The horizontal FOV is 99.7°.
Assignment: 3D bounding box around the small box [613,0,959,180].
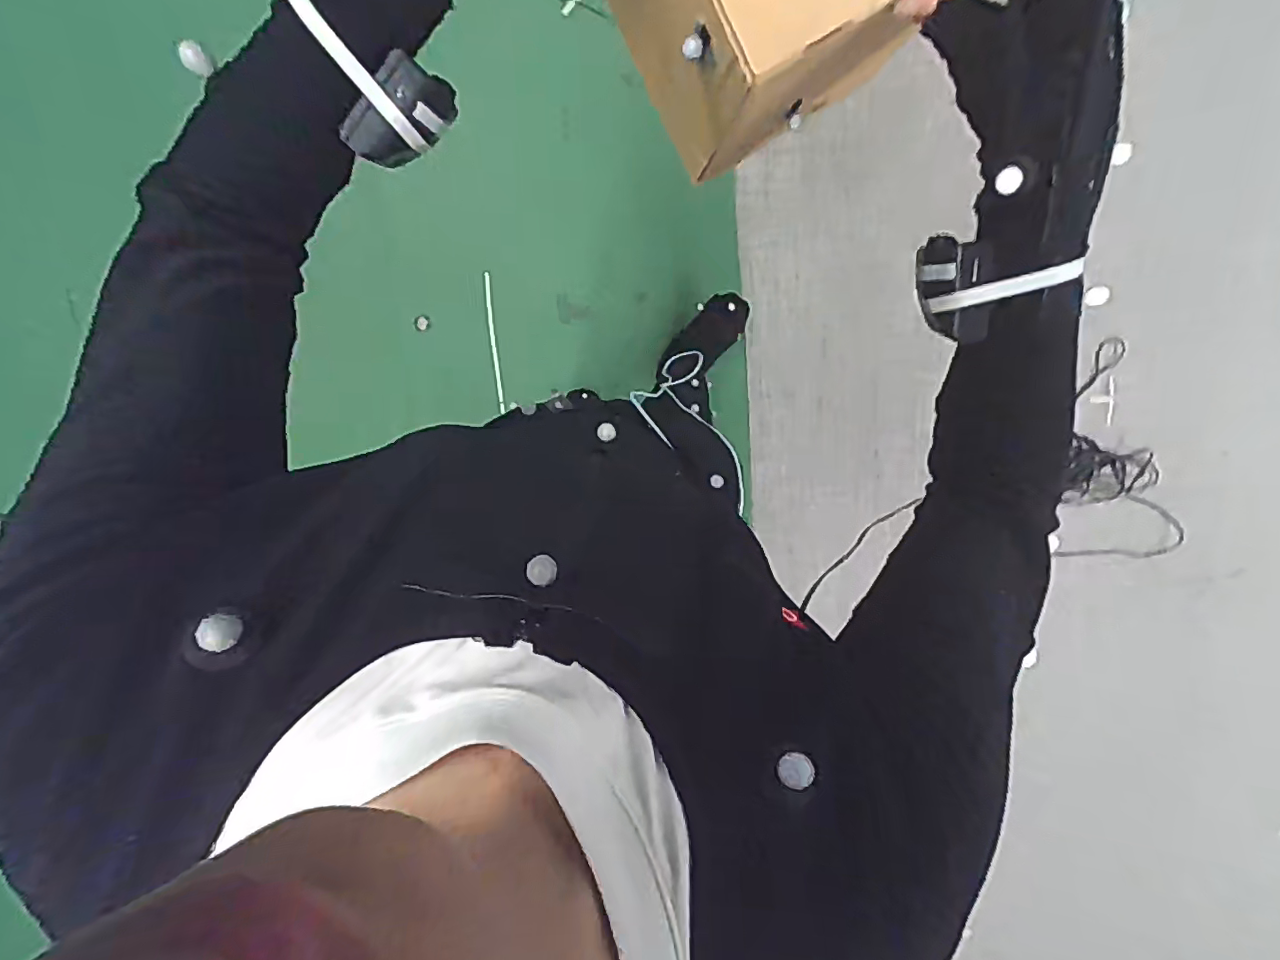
[{"bbox_3d":[0.086,-0.340,0.353,0.168,0.176,0.179,-30,103,2],"label":"small box"}]
